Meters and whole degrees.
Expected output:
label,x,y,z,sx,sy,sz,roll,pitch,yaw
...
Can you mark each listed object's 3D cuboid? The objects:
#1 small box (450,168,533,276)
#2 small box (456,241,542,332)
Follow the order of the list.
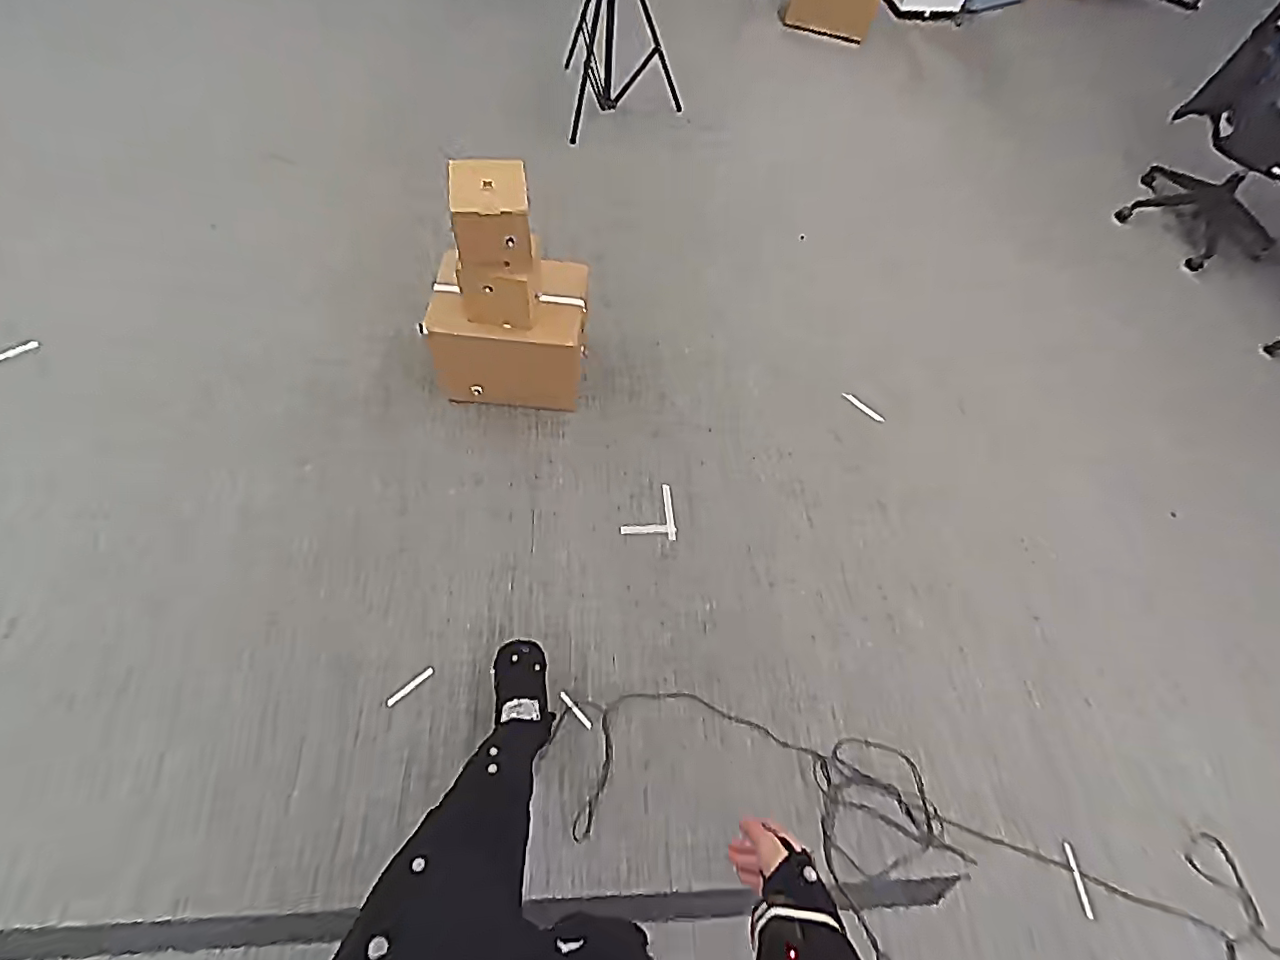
label,x,y,z,sx,sy,sz,roll,pitch,yaw
small box,-0.343,-0.594,1.260,0.168,0.176,0.179,-6,63,-11
small box,-0.356,-0.505,1.397,0.179,0.176,0.168,8,62,-4
